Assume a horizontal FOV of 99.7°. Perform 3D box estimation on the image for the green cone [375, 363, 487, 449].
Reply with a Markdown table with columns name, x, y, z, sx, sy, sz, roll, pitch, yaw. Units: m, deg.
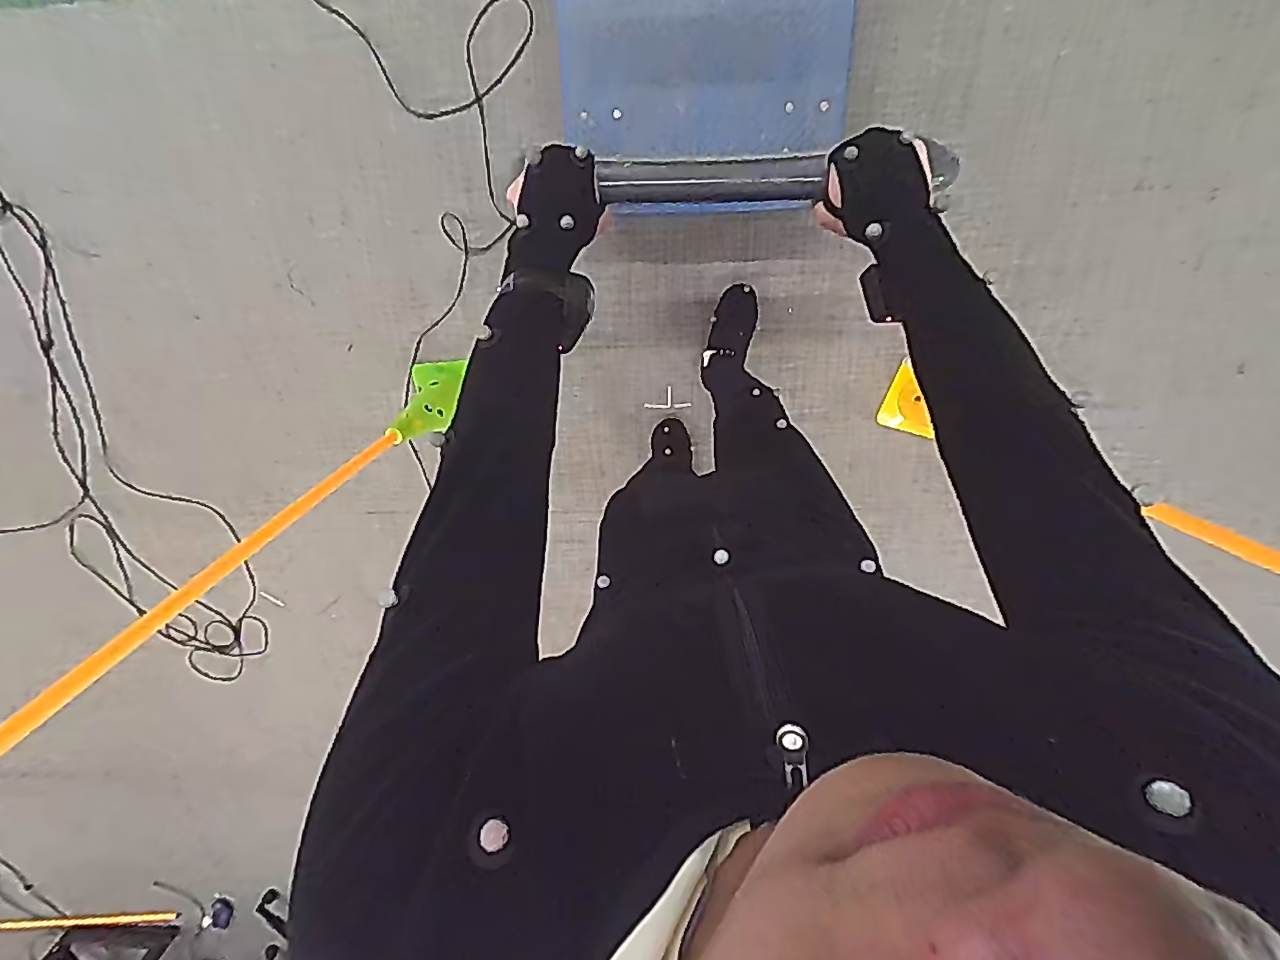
| name | x | y | z | sx | sy | sz | roll | pitch | yaw |
| --- | --- | --- | --- | --- | --- | --- | --- | --- | --- |
| green cone | -0.563 | -0.163 | 1.390 | 0.202 | 0.368 | 0.200 | -4 | 112 | 7 |
